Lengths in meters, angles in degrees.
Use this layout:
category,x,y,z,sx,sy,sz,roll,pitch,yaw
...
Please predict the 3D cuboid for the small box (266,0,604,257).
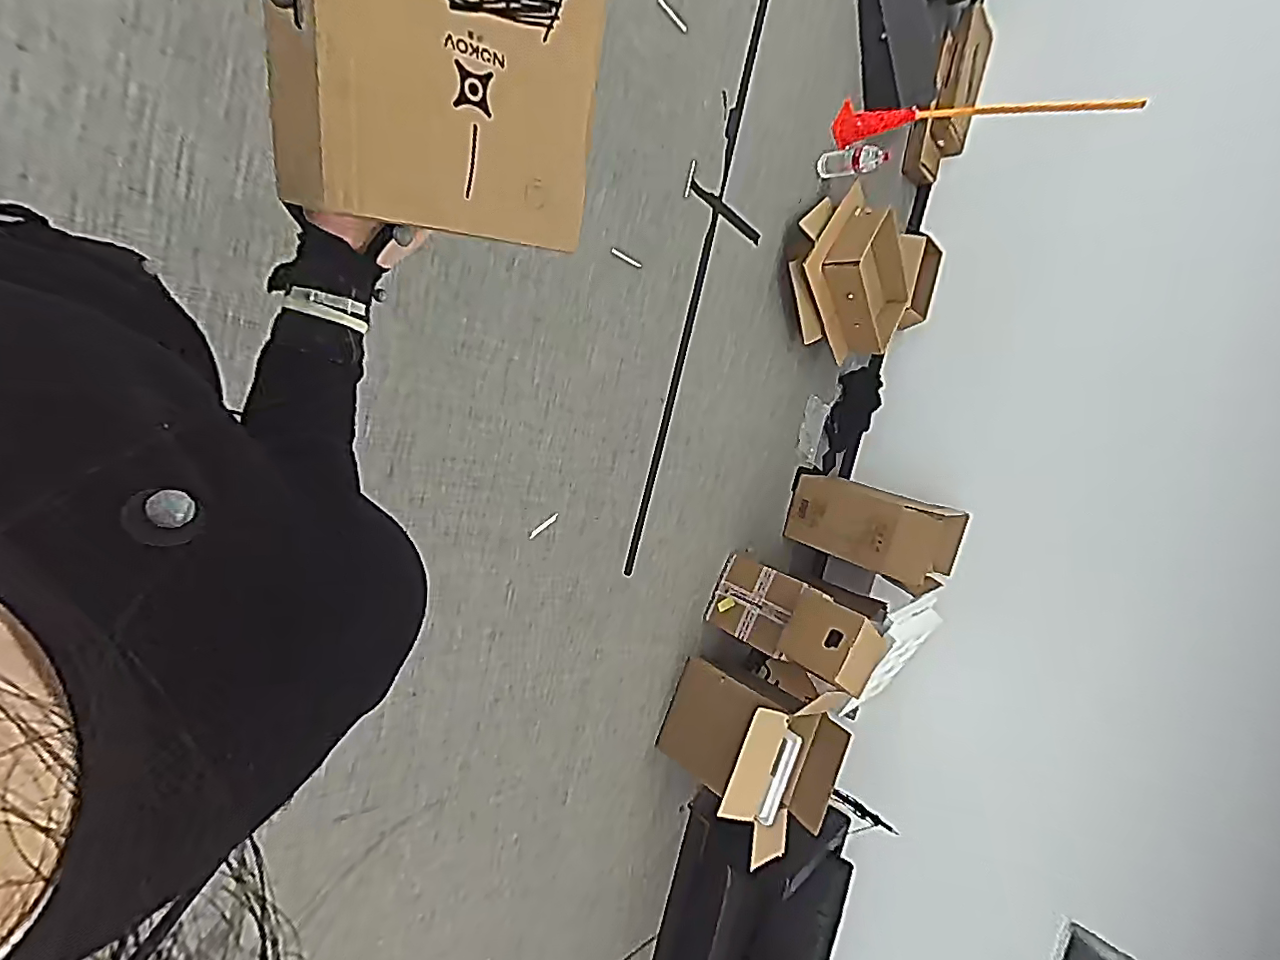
category,x,y,z,sx,sy,sz,roll,pitch,yaw
small box,-0.147,-0.268,0.375,0.168,0.176,0.179,-9,119,-39
